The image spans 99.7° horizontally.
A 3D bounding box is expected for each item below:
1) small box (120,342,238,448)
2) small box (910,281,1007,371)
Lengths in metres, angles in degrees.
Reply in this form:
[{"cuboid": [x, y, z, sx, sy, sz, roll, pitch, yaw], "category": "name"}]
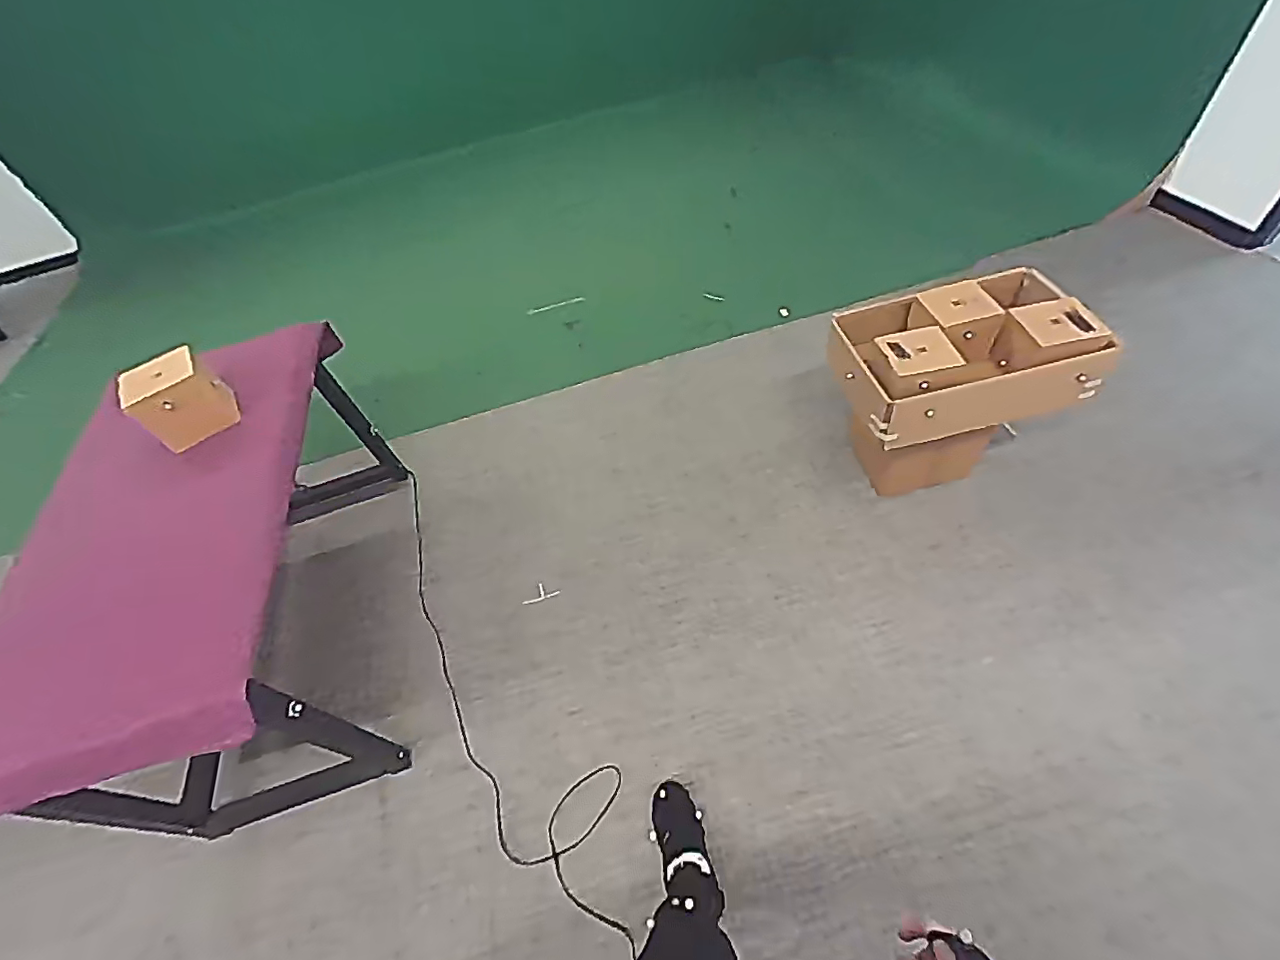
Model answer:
[{"cuboid": [-1.190, -0.220, 1.410, 0.179, 0.176, 0.168, -34, 55, -15], "category": "small box"}, {"cuboid": [0.904, -0.439, 1.560, 0.179, 0.176, 0.168, -13, 53, 2], "category": "small box"}]
